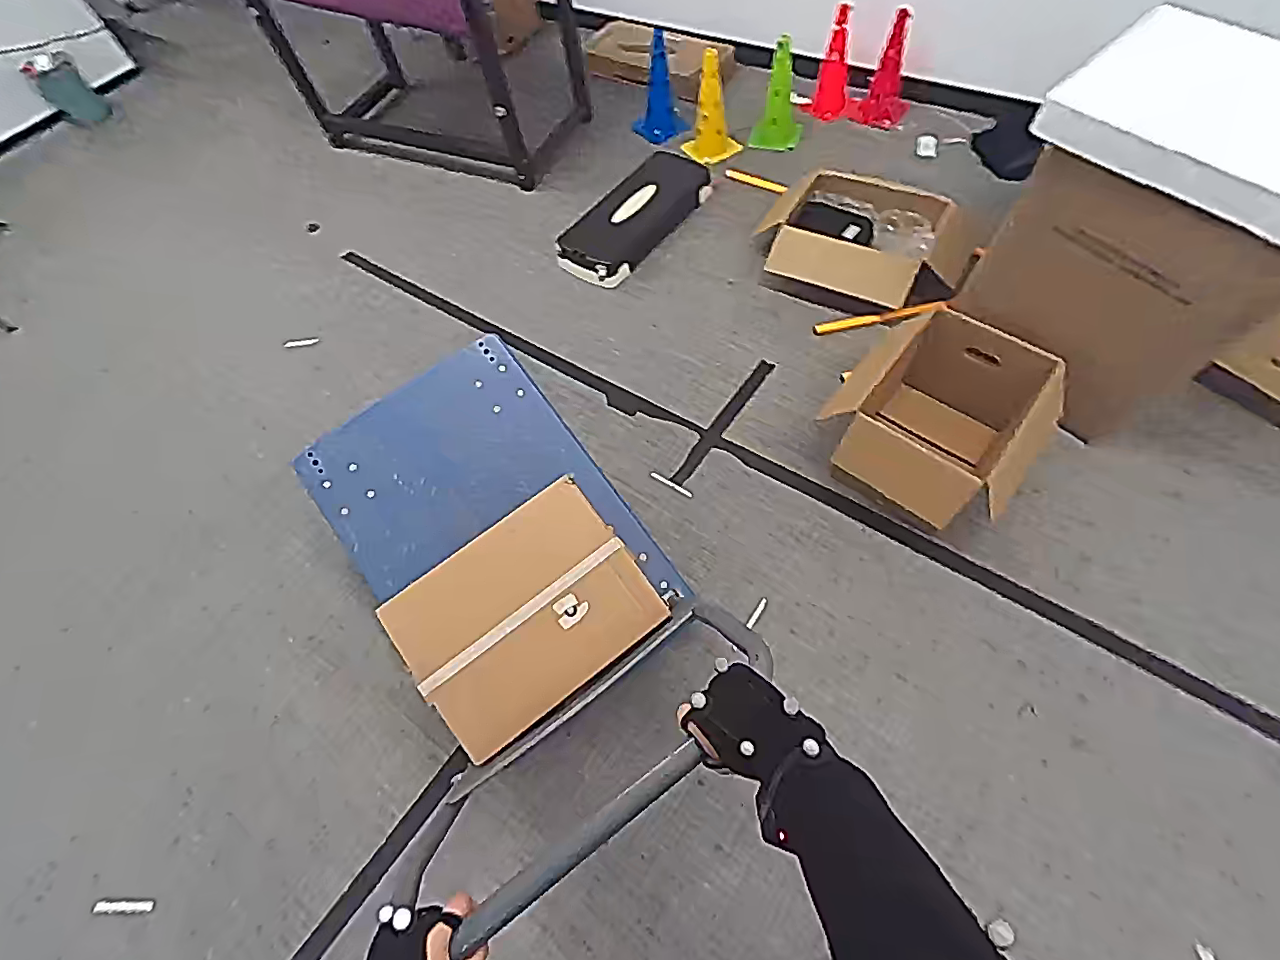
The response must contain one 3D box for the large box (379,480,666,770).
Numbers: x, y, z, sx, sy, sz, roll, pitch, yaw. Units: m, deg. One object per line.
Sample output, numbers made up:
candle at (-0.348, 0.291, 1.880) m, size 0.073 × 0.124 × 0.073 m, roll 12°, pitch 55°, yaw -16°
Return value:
large box at (-0.205, 0.269, 1.067) m, size 0.408 × 0.320 × 0.320 m, roll -37°, pitch 82°, yaw -10°
